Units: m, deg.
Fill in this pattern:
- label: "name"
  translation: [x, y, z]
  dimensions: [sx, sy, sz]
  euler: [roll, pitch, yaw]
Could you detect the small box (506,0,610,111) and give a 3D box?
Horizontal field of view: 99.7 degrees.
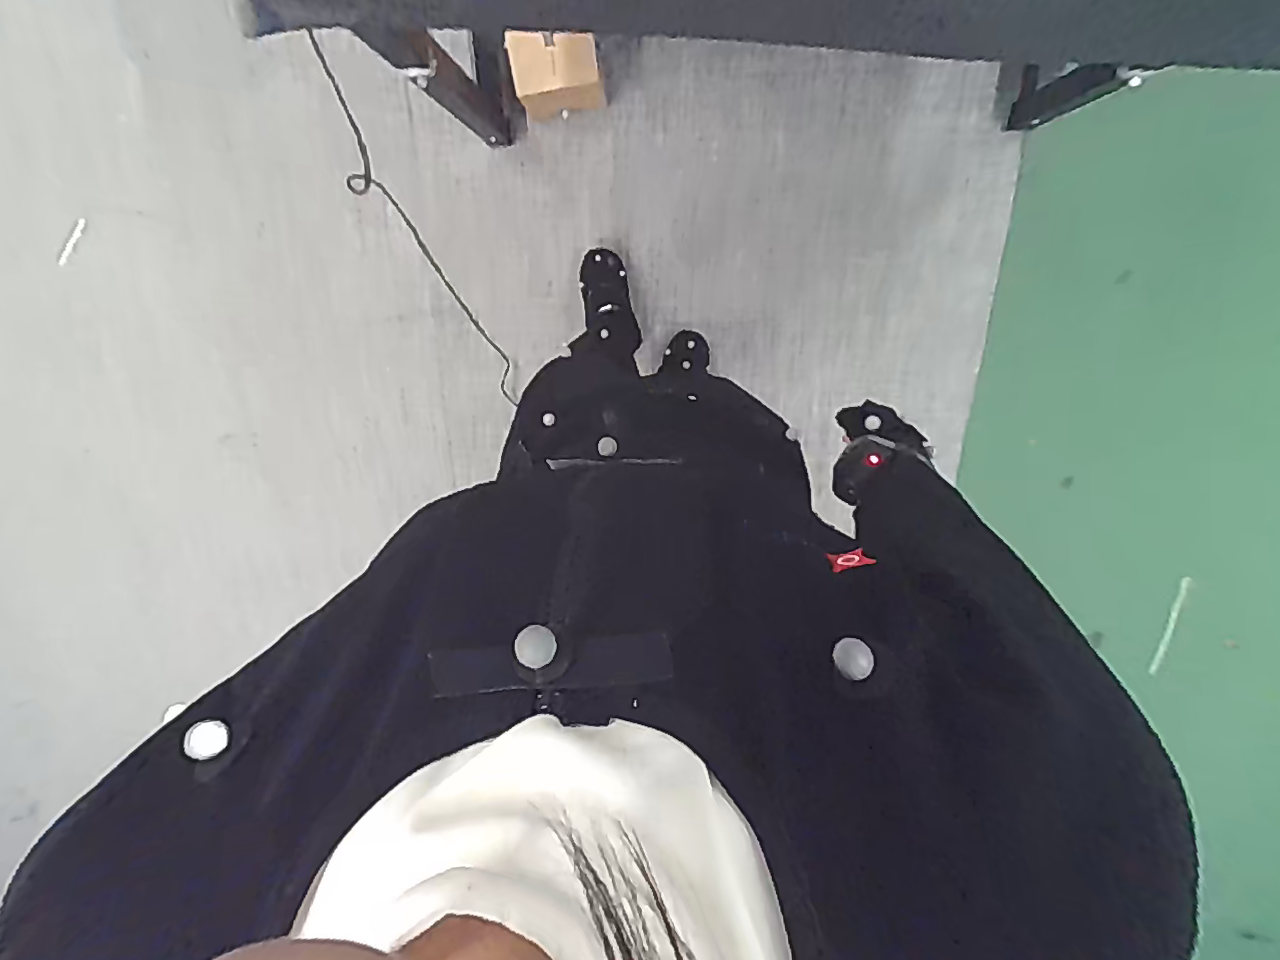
- label: "small box"
  translation: [-0.158, -0.872, 1.077]
  dimensions: [0.168, 0.176, 0.179]
  euler: [-7, 110, 5]
